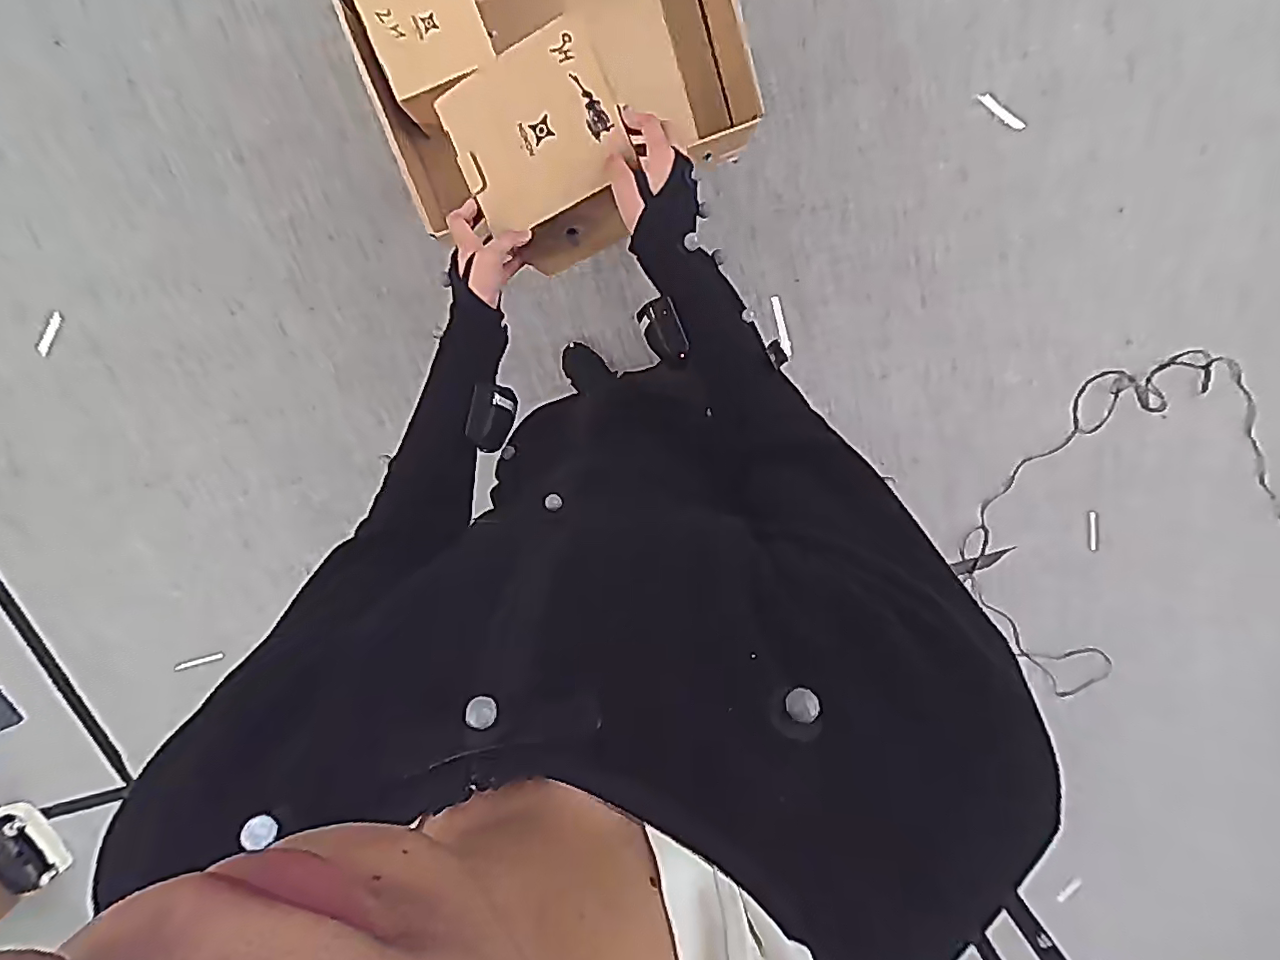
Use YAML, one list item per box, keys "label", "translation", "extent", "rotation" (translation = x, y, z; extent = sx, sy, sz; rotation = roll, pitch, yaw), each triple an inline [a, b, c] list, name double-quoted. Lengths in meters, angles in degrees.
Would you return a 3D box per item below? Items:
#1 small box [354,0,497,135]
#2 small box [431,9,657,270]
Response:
- label: "small box"
  translation: [-0.336, -0.722, 0.911]
  extent: [0.179, 0.176, 0.168]
  rotation: [-21, 105, 3]
- label: "small box"
  translation: [-0.097, -0.369, 0.630]
  extent: [0.179, 0.176, 0.168]
  rotation: [-22, 96, 14]
